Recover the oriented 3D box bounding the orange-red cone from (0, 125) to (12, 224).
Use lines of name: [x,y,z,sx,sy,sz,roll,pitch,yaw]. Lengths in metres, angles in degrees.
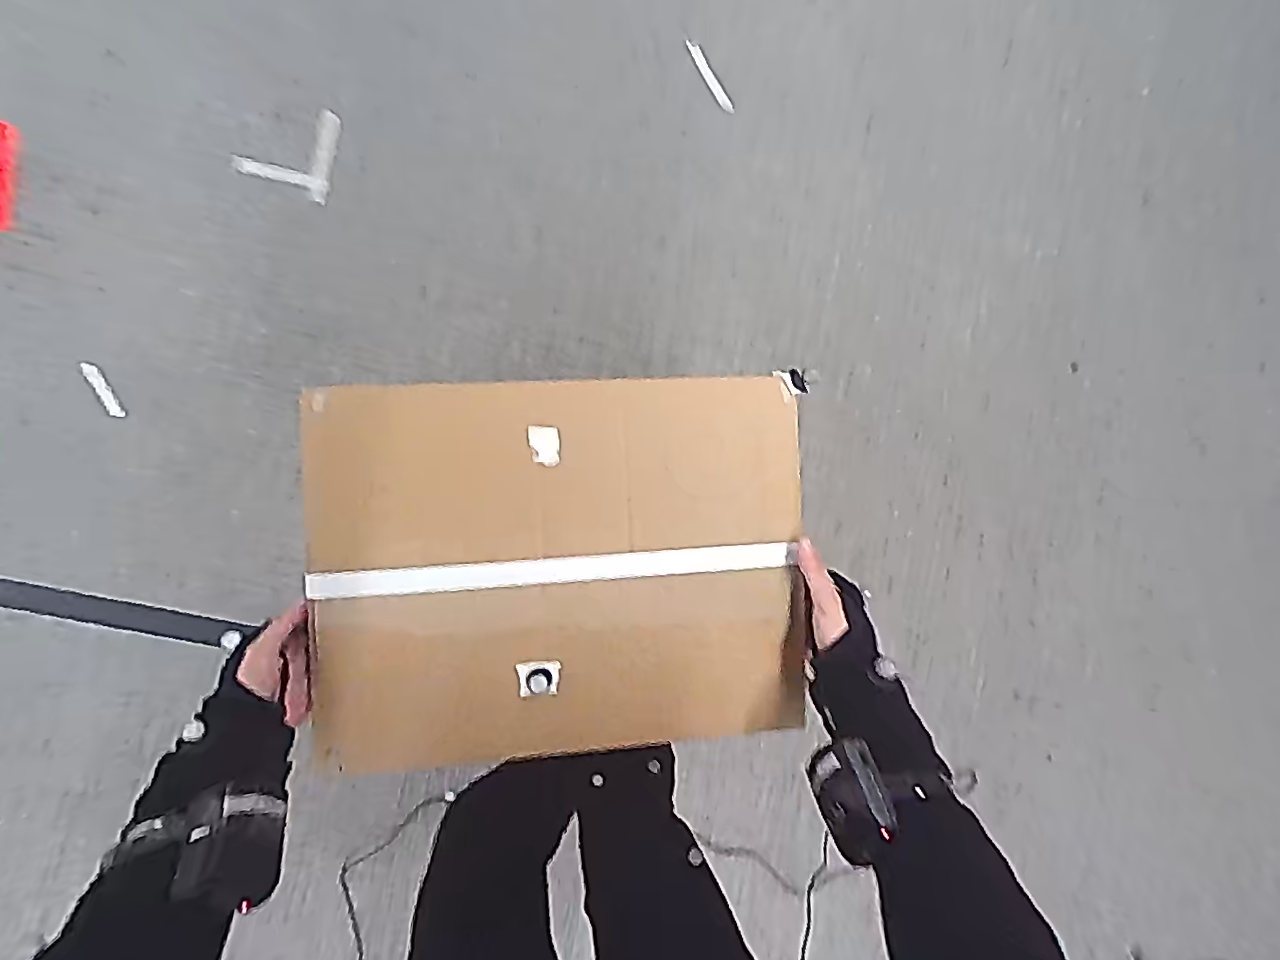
orange-red cone: [-1.186,-0.540,0.768,0.198,0.360,0.199,4,87,-8]
